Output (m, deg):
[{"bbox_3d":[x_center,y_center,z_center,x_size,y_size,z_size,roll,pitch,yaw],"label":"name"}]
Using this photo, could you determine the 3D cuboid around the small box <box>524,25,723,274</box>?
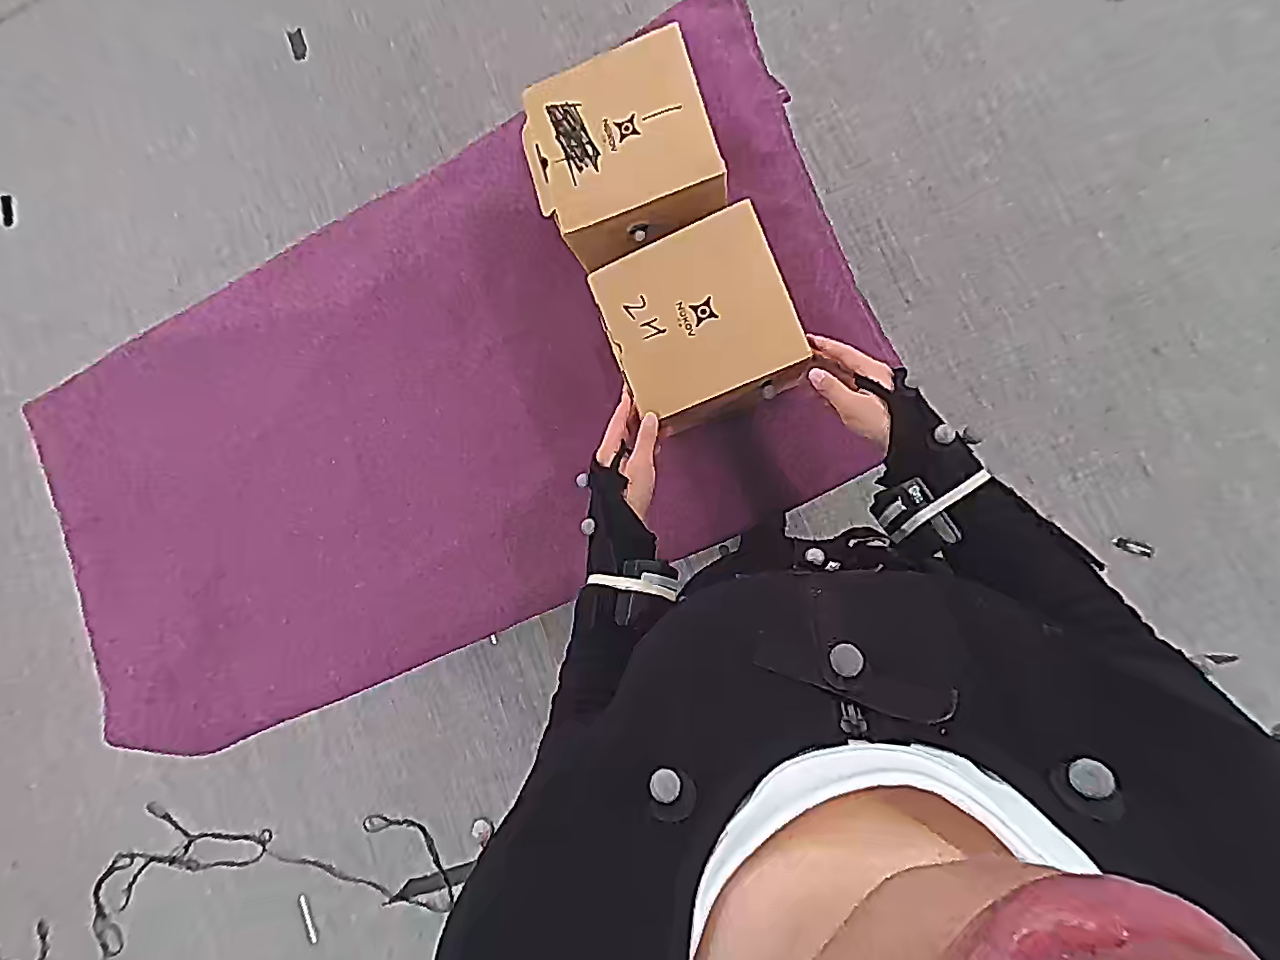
[{"bbox_3d":[-0.006,-0.353,0.628,0.179,0.176,0.168,-17,86,9],"label":"small box"}]

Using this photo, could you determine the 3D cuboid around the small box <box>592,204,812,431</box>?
[{"bbox_3d":[0.071,-0.163,0.605,0.179,0.176,0.168,-21,87,11],"label":"small box"}]
